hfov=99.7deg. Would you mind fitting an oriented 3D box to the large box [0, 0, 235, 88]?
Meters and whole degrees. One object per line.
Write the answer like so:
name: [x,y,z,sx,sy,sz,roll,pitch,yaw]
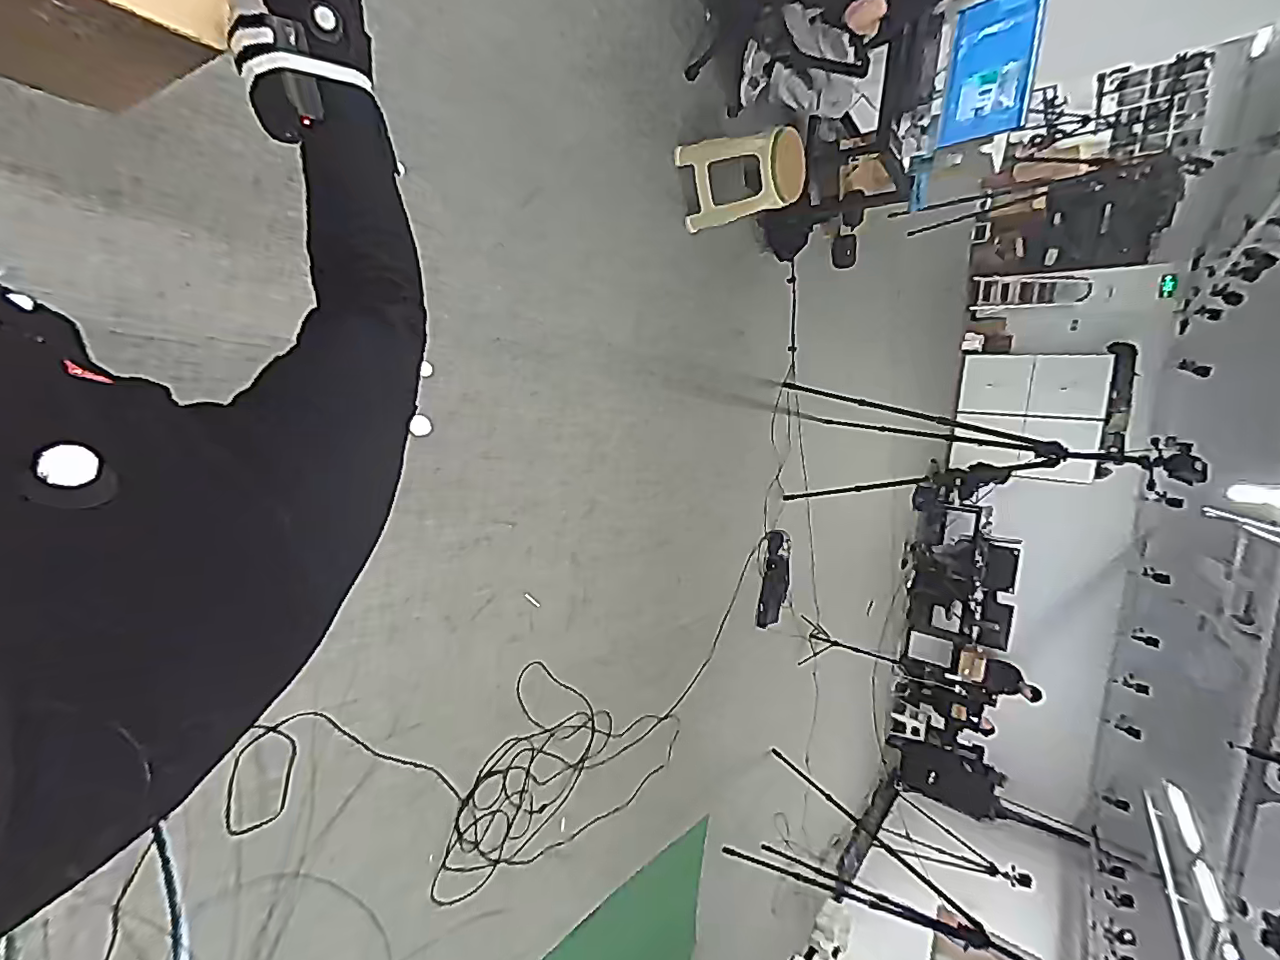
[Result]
large box: [-0.504,-0.477,0.270,0.408,0.320,0.320,-10,114,-54]
